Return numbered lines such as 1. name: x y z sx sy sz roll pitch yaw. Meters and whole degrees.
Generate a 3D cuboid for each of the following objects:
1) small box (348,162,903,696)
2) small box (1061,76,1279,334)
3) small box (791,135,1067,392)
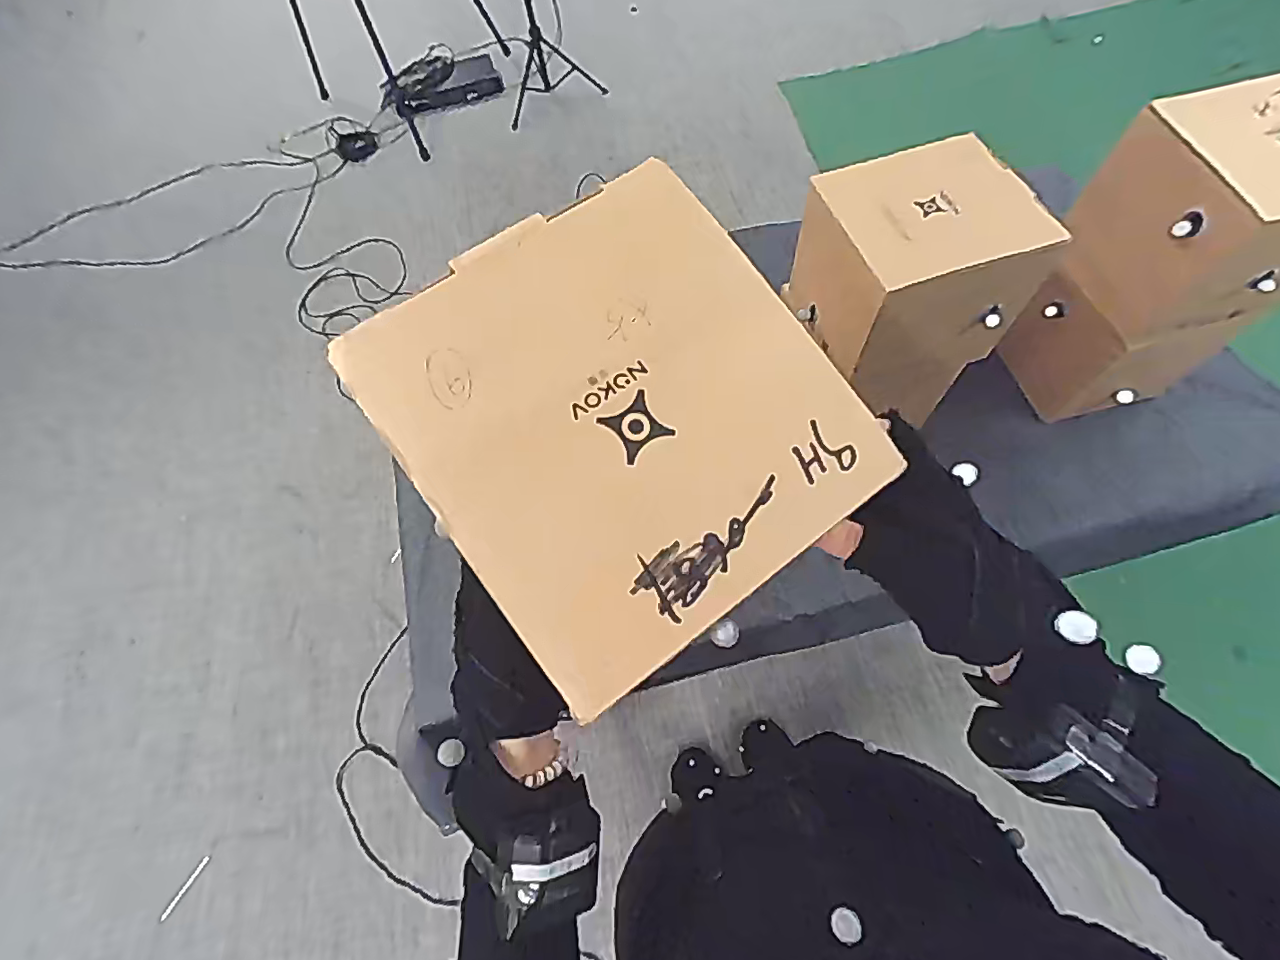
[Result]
1. small box: -0.011 -0.016 0.298 0.168 0.176 0.179 -36 84 -10
2. small box: 0.599 -0.275 0.569 0.168 0.176 0.179 -12 64 1
3. small box: 0.283 -0.220 0.579 0.179 0.176 0.168 -16 63 -1
